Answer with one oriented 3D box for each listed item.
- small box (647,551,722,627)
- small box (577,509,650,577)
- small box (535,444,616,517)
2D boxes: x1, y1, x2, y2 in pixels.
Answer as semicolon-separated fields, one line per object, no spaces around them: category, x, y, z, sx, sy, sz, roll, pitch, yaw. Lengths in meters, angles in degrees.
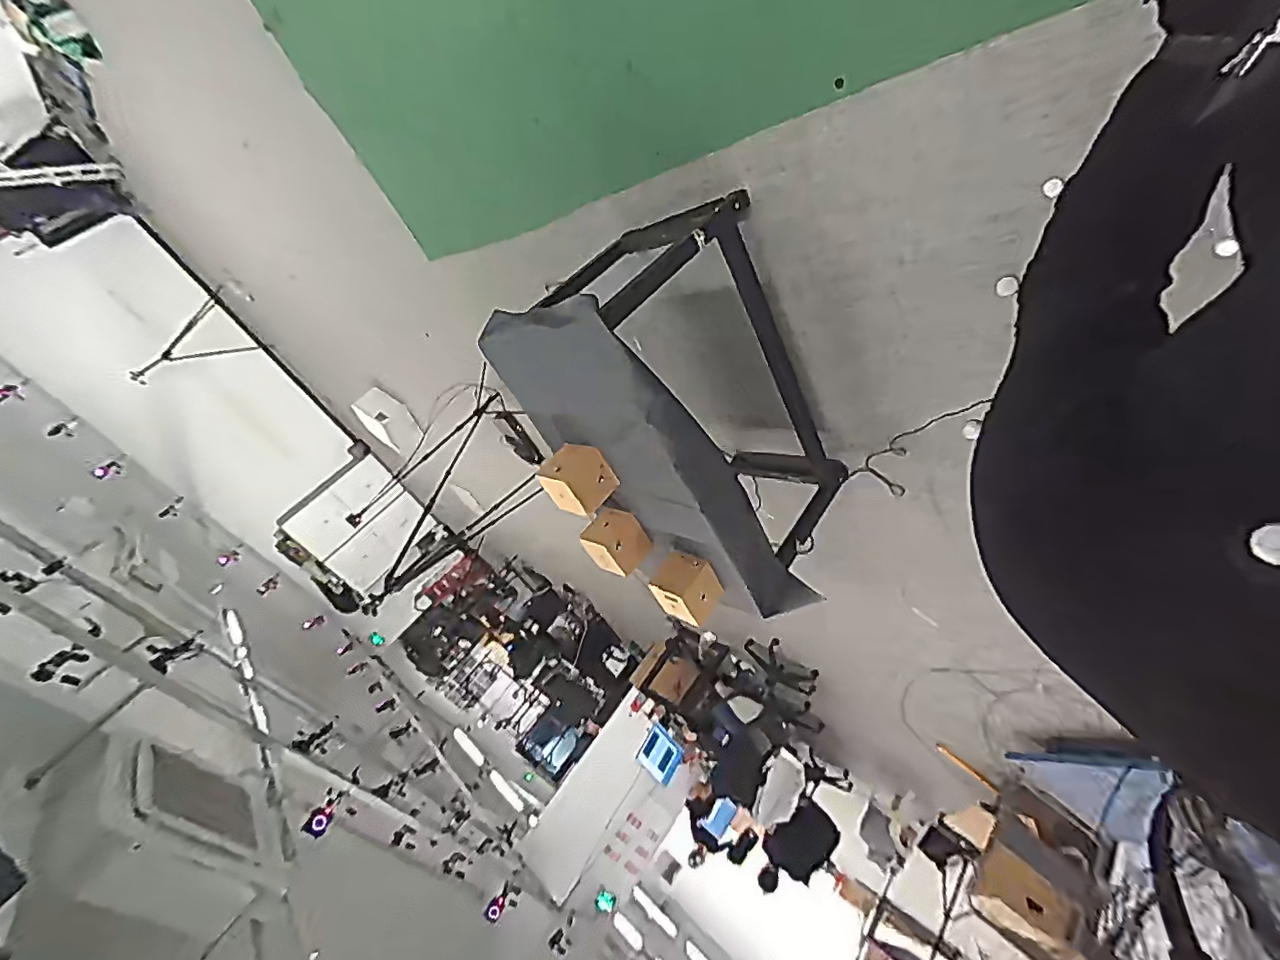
small box;0.159;0.378;1.904;0.168;0.176;0.179;13;144;46
small box;-0.094;0.228;2.013;0.168;0.176;0.179;10;141;47
small box;-0.212;-0.004;1.814;0.179;0.176;0.168;11;141;46
